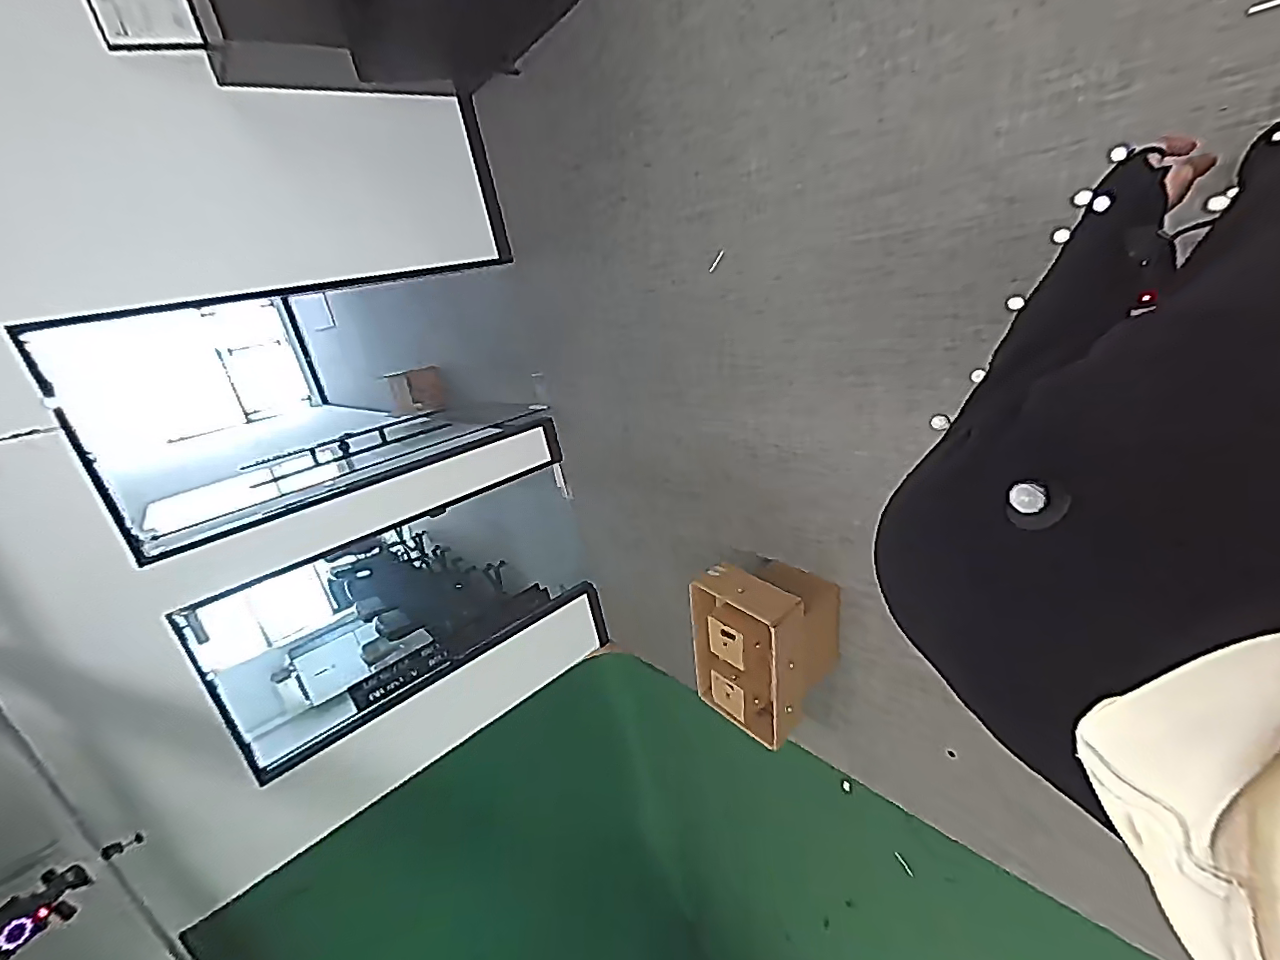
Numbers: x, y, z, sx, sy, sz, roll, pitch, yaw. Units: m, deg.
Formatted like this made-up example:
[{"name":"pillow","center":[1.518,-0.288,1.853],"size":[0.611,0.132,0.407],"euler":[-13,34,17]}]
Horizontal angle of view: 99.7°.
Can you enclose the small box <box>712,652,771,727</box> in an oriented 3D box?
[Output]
[{"name":"small box","center":[0.405,0.822,2.135],"size":[0.168,0.176,0.179],"euler":[22,127,46]}]
